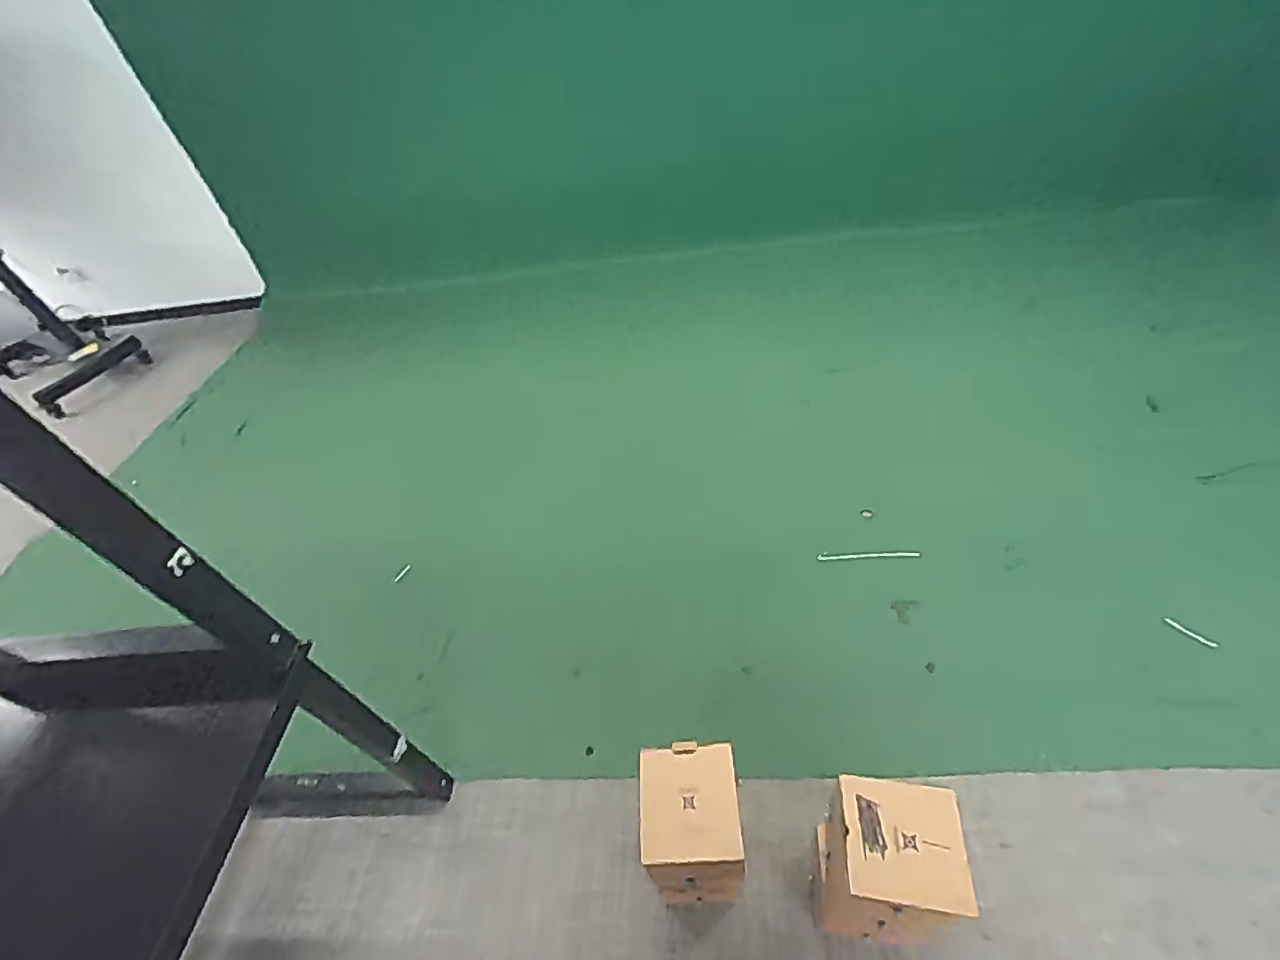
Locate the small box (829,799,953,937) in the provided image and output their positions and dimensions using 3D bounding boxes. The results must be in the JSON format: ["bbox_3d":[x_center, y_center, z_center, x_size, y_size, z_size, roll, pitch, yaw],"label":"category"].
[{"bbox_3d":[0.444,0.708,0.988,0.179,0.176,0.168,4,48,14],"label":"small box"}]

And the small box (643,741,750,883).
[{"bbox_3d":[0.097,0.583,0.949,0.168,0.176,0.179,-8,45,6],"label":"small box"}]

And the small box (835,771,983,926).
[{"bbox_3d":[0.415,0.595,0.872,0.179,0.176,0.168,2,47,12],"label":"small box"}]
